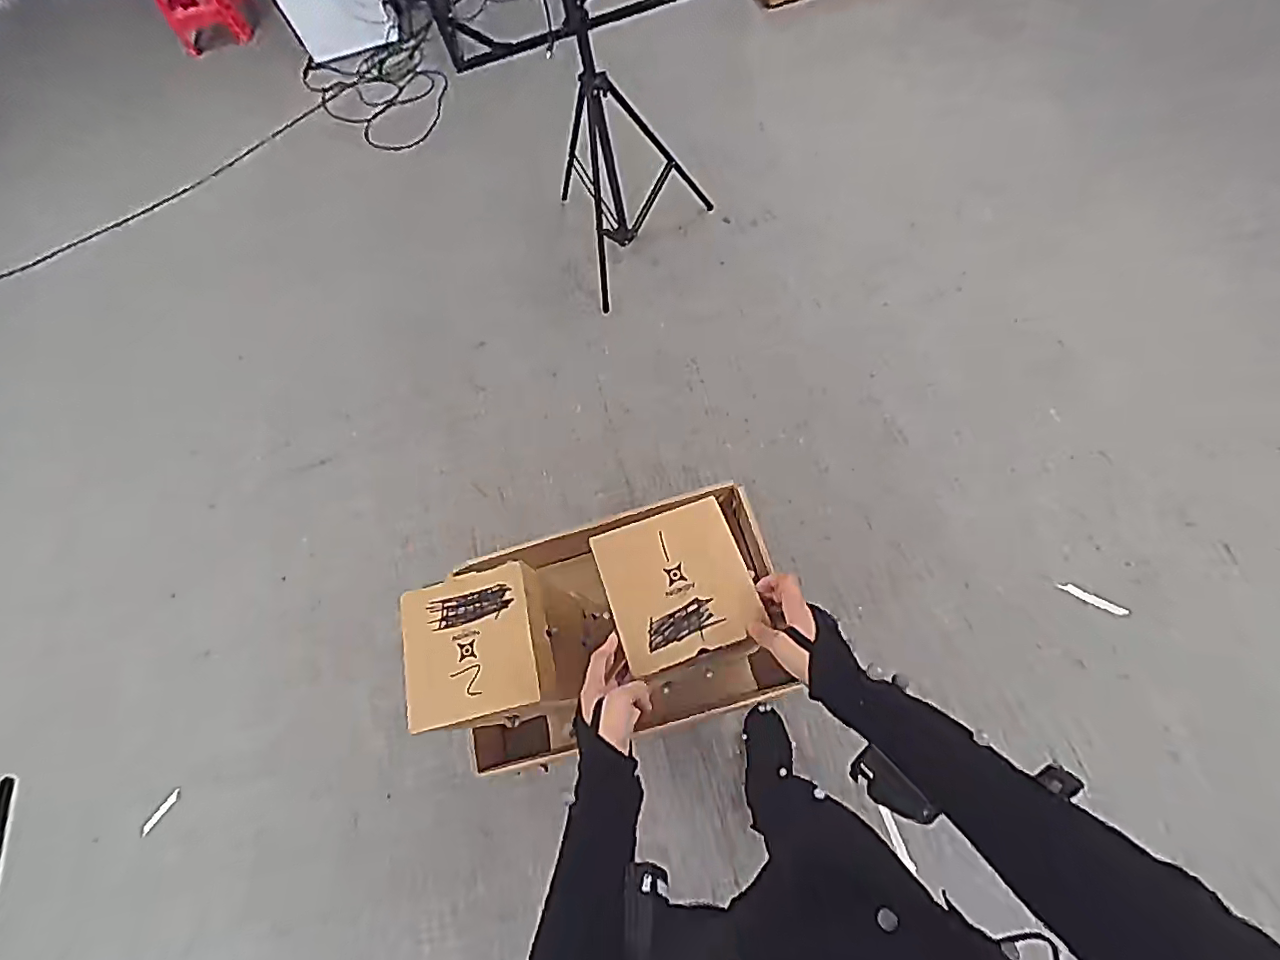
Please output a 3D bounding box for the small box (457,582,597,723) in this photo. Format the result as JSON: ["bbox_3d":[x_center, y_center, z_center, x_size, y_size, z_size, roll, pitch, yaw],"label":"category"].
[{"bbox_3d":[-0.180,0.289,0.890,0.168,0.176,0.179,-17,66,4],"label":"small box"}]

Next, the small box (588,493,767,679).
[{"bbox_3d":[0.046,0.147,0.700,0.168,0.176,0.179,-19,64,-5],"label":"small box"}]
